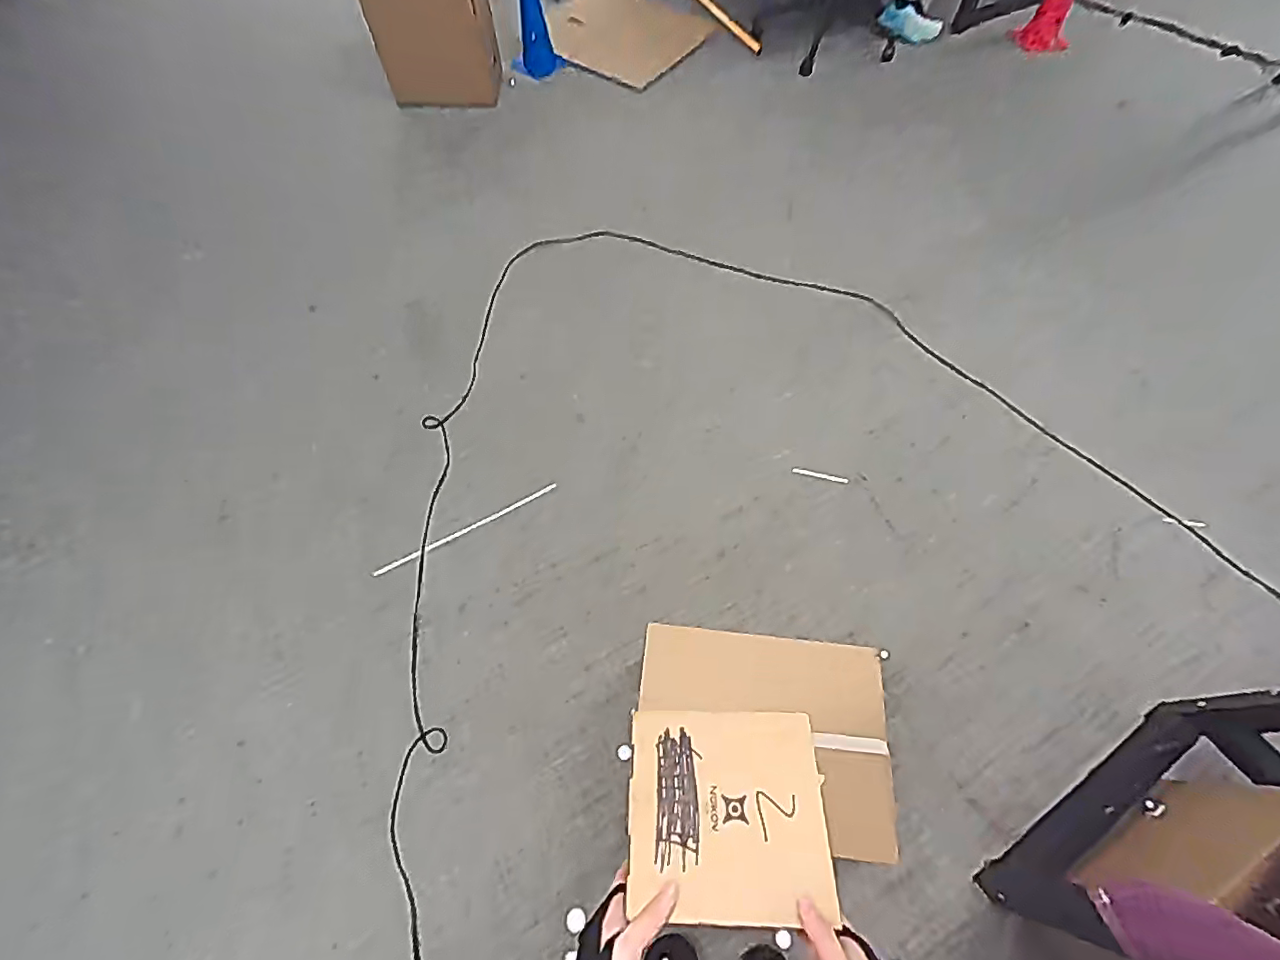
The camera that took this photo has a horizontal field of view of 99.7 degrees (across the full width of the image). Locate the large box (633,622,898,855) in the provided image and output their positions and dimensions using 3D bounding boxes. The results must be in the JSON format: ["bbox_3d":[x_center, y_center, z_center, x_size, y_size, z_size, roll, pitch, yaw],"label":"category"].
[{"bbox_3d":[0.200,0.469,1.005,0.408,0.320,0.320,6,64,3],"label":"large box"}]
